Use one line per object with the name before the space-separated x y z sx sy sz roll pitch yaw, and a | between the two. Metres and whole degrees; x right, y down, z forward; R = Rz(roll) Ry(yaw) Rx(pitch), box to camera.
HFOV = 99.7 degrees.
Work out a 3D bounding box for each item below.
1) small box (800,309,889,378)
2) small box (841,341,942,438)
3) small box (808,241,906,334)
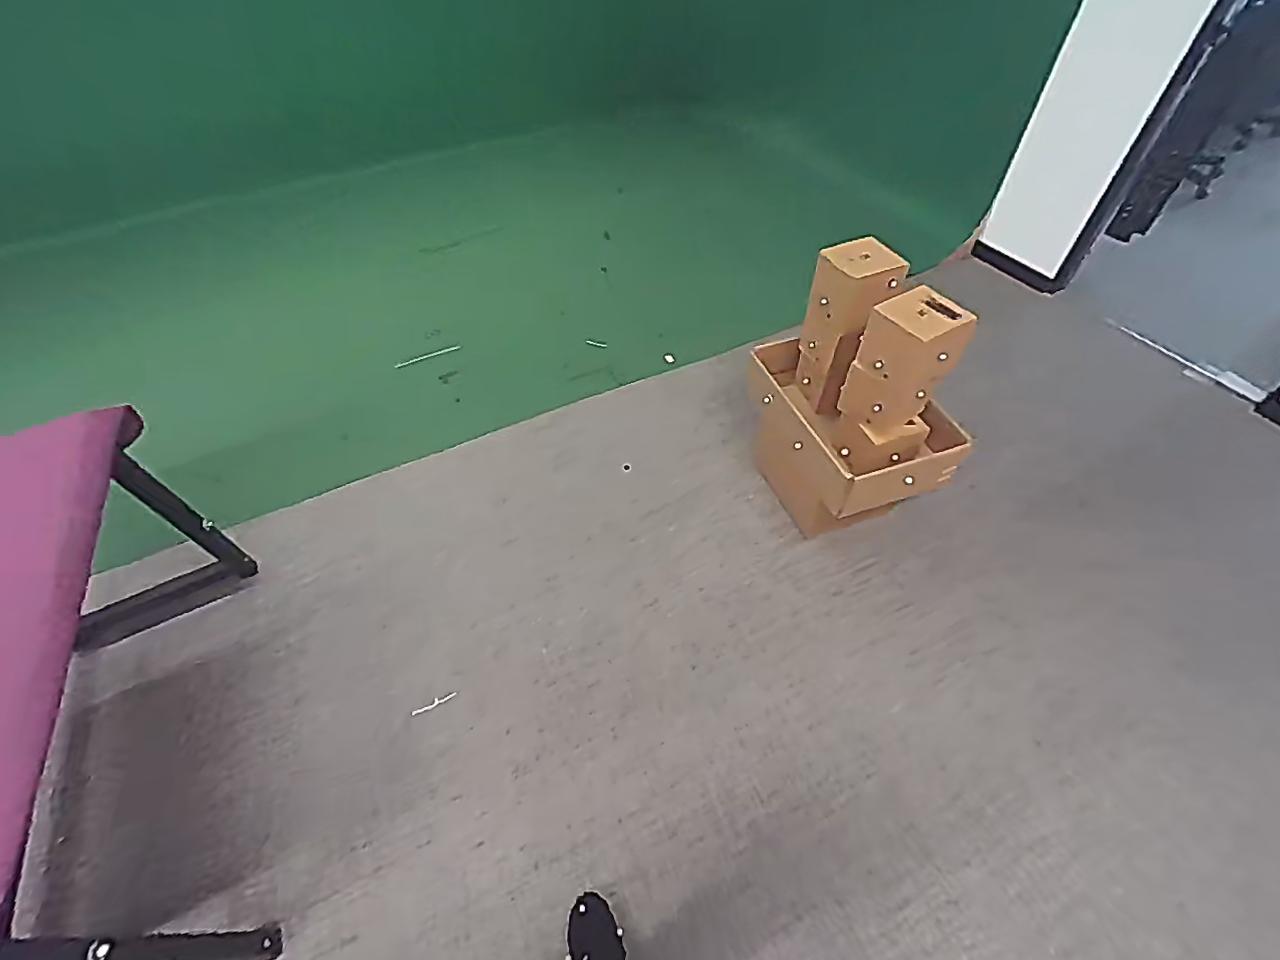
small box | 0.618 -0.441 1.656 0.179 0.176 0.168 -19 52 -11
small box | 0.679 -0.245 1.487 0.179 0.176 0.168 -31 55 -21
small box | 0.603 -0.541 1.526 0.179 0.176 0.168 -19 52 -11
